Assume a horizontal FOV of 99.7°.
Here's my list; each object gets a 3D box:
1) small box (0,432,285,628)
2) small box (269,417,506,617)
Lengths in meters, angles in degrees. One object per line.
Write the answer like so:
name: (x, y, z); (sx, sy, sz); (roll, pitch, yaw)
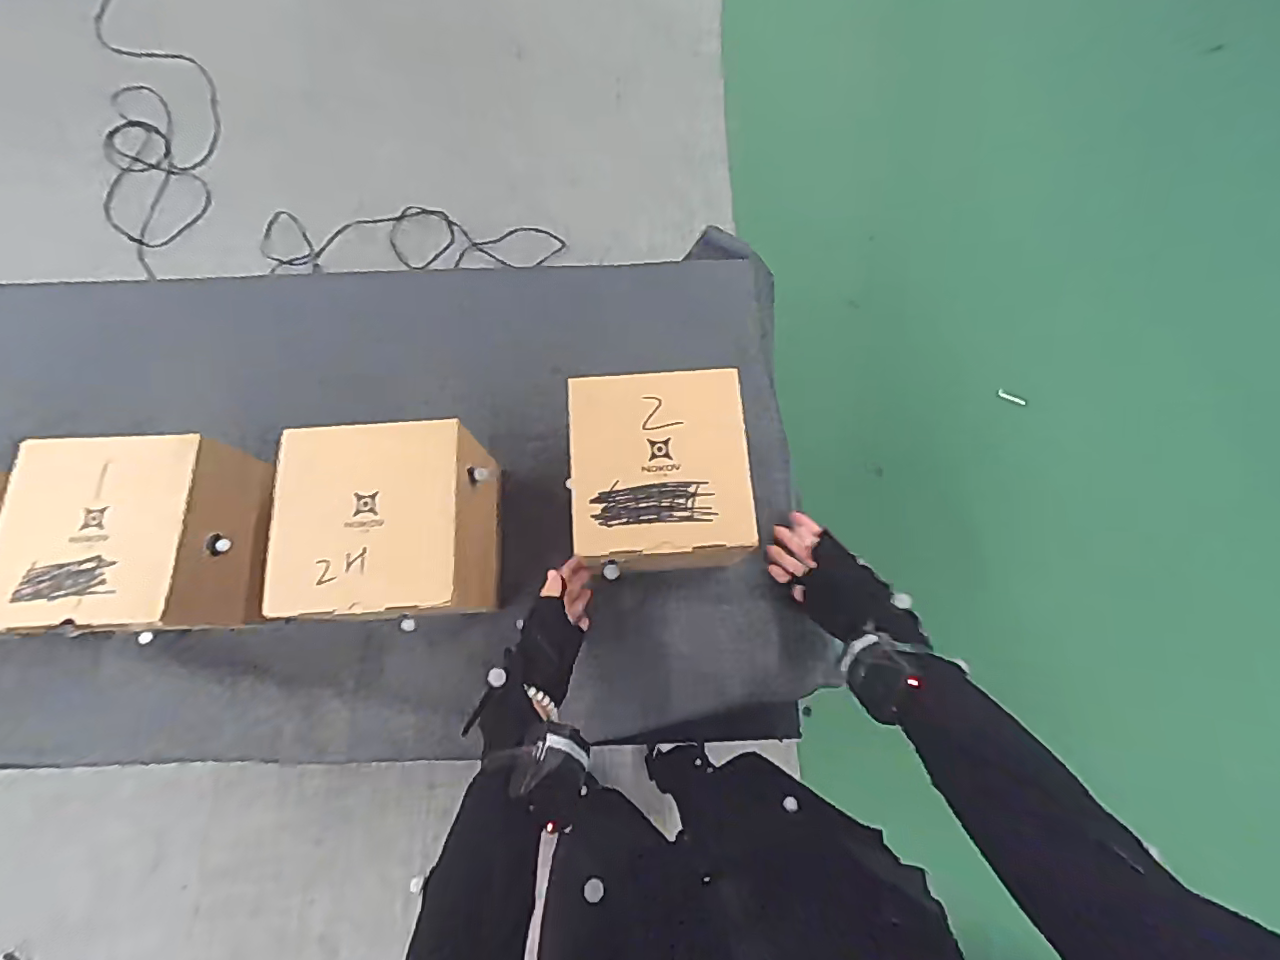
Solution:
small box: (-0.484, 0.060, 0.561); (0.168, 0.176, 0.179); (-1, 74, -1)
small box: (-0.242, 0.048, 0.565); (0.168, 0.176, 0.179); (-3, 75, -1)
